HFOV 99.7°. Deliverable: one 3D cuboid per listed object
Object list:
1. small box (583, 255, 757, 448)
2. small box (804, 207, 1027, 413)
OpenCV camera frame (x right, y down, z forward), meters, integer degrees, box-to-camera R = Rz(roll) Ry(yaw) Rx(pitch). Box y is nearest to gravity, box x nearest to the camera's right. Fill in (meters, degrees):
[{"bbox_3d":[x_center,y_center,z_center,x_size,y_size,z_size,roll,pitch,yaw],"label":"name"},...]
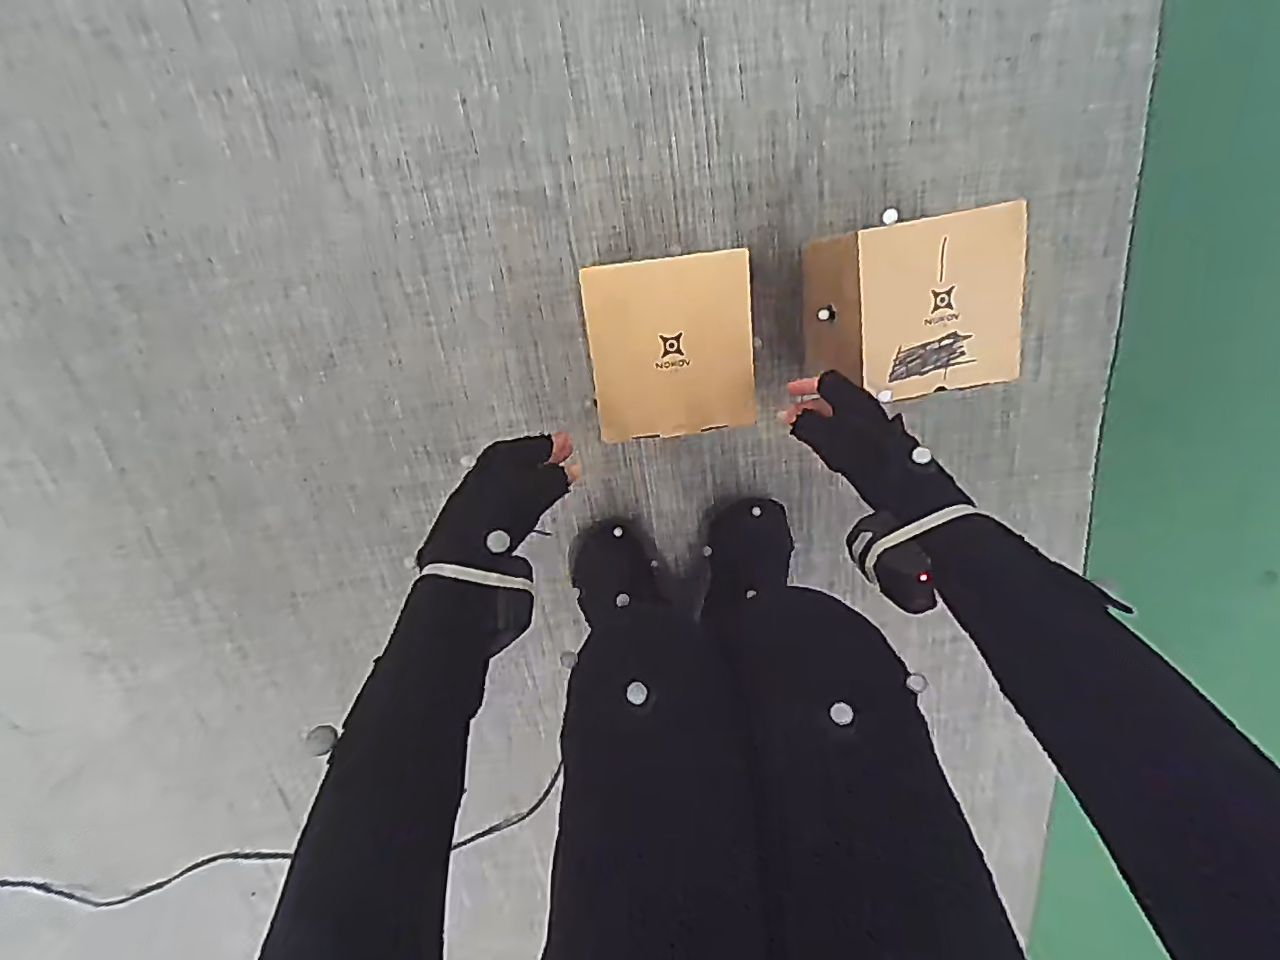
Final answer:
[{"bbox_3d":[0.030,-0.149,0.620,0.168,0.176,0.179,-8,109,1],"label":"small box"},{"bbox_3d":[0.296,-0.190,0.614,0.168,0.176,0.179,-10,108,2],"label":"small box"}]
